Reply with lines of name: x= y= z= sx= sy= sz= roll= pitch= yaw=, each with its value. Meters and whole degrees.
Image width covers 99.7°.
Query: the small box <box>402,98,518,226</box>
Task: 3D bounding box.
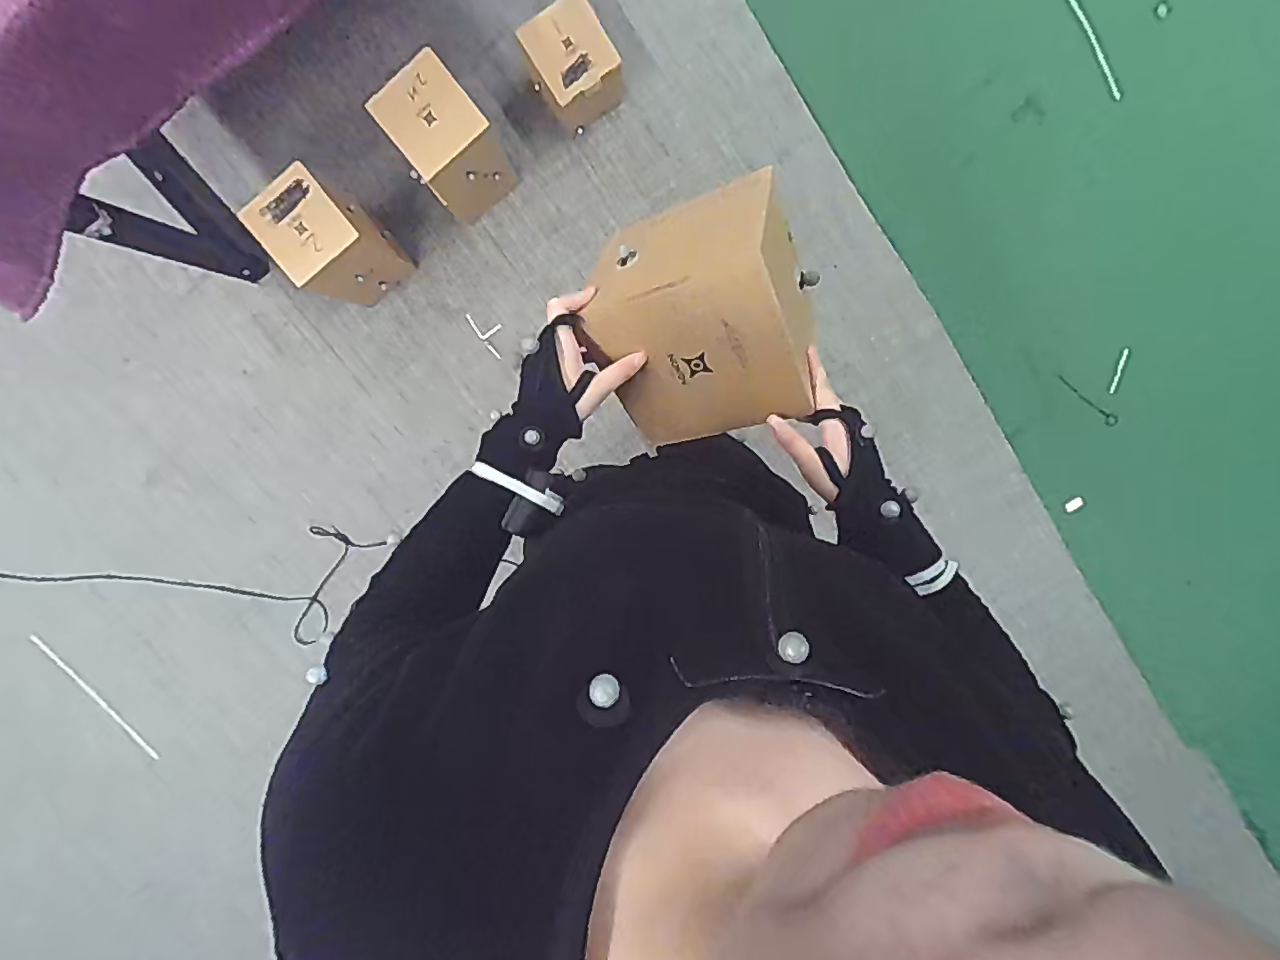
small box: x=-0.415 y=-0.737 z=1.278 sx=0.179 sy=0.176 sz=0.168 roll=-36 pitch=99 yaw=5

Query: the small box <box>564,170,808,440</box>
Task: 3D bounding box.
small box: x=0.059 y=-0.167 z=0.535 sx=0.179 sy=0.176 sz=0.168 roll=-10 pitch=134 yaw=28
